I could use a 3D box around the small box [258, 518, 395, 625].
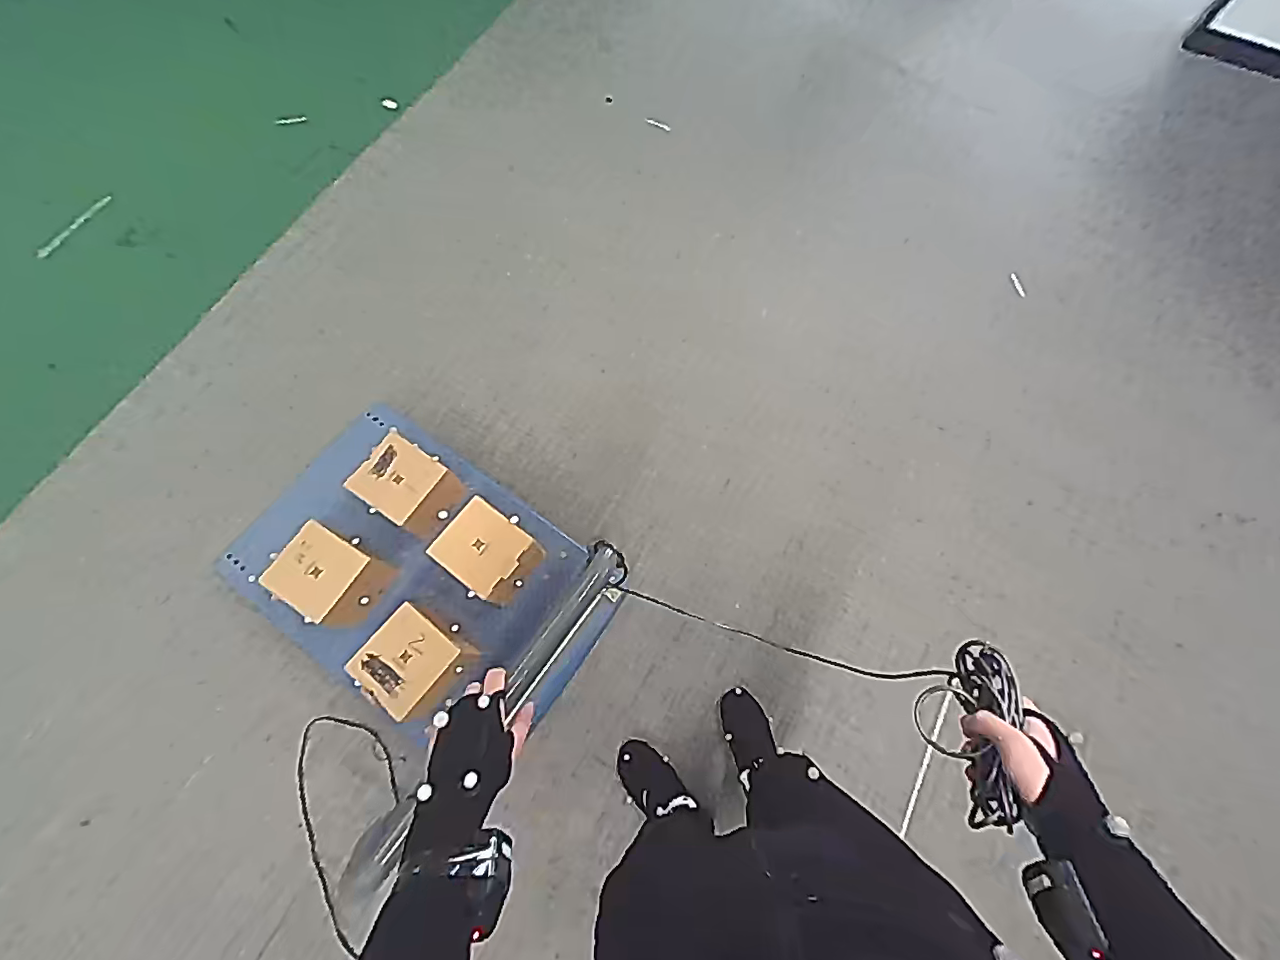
[{"bbox_3d":[-0.698,0.215,1.229,0.179,0.176,0.168,31,73,9],"label":"small box"}]

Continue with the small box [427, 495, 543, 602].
[{"bbox_3d":[-0.349,0.167,1.254,0.179,0.176,0.168,36,75,10],"label":"small box"}]

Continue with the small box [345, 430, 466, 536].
[{"bbox_3d":[-0.553,0.015,1.299,0.179,0.176,0.168,33,75,9],"label":"small box"}]
